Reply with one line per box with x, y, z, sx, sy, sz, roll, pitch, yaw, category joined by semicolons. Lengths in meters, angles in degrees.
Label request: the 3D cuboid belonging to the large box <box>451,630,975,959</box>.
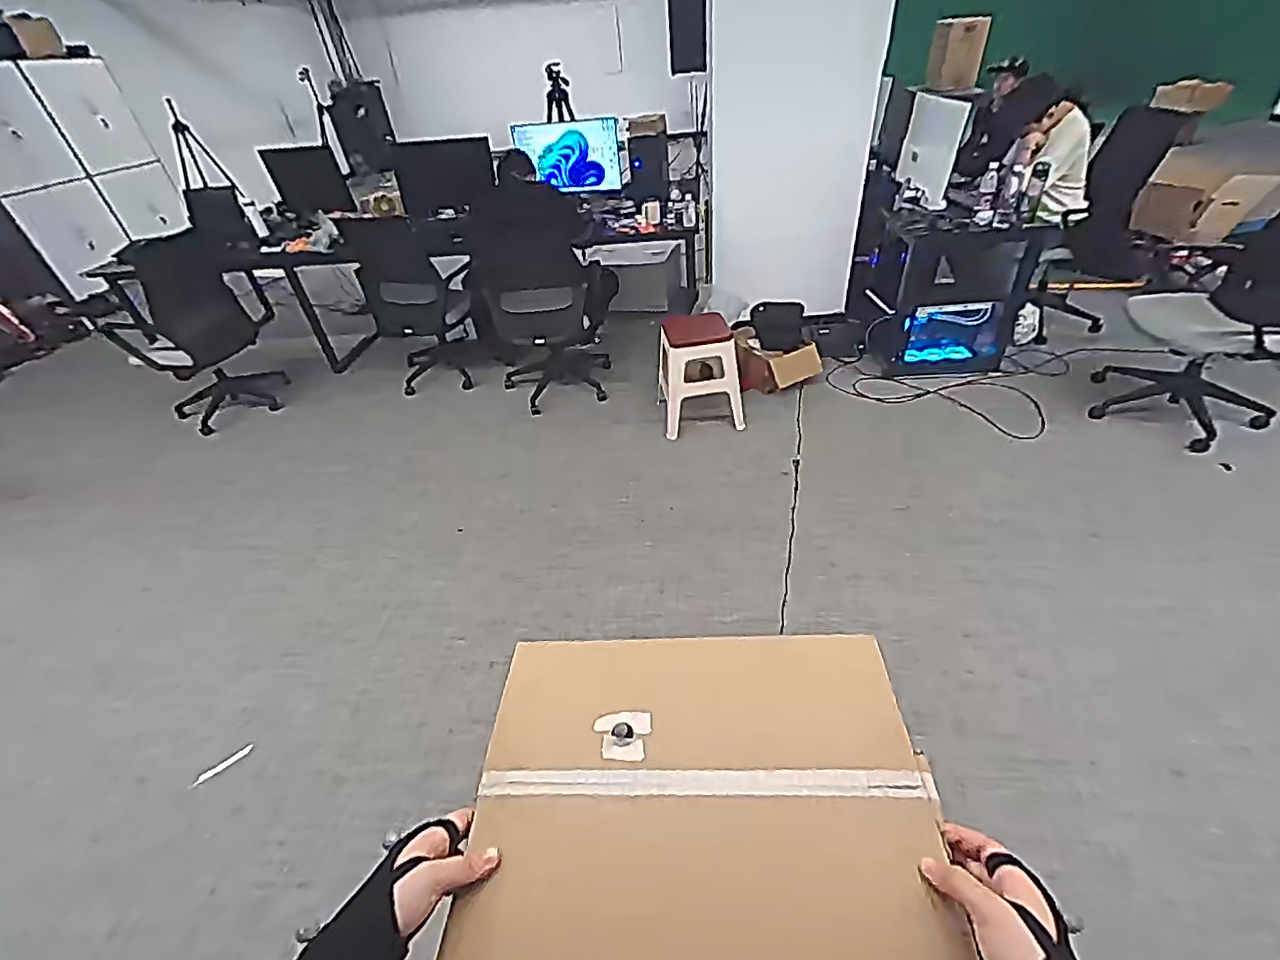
0.073;0.395;0.599;0.408;0.320;0.320;-5;38;8;large box
